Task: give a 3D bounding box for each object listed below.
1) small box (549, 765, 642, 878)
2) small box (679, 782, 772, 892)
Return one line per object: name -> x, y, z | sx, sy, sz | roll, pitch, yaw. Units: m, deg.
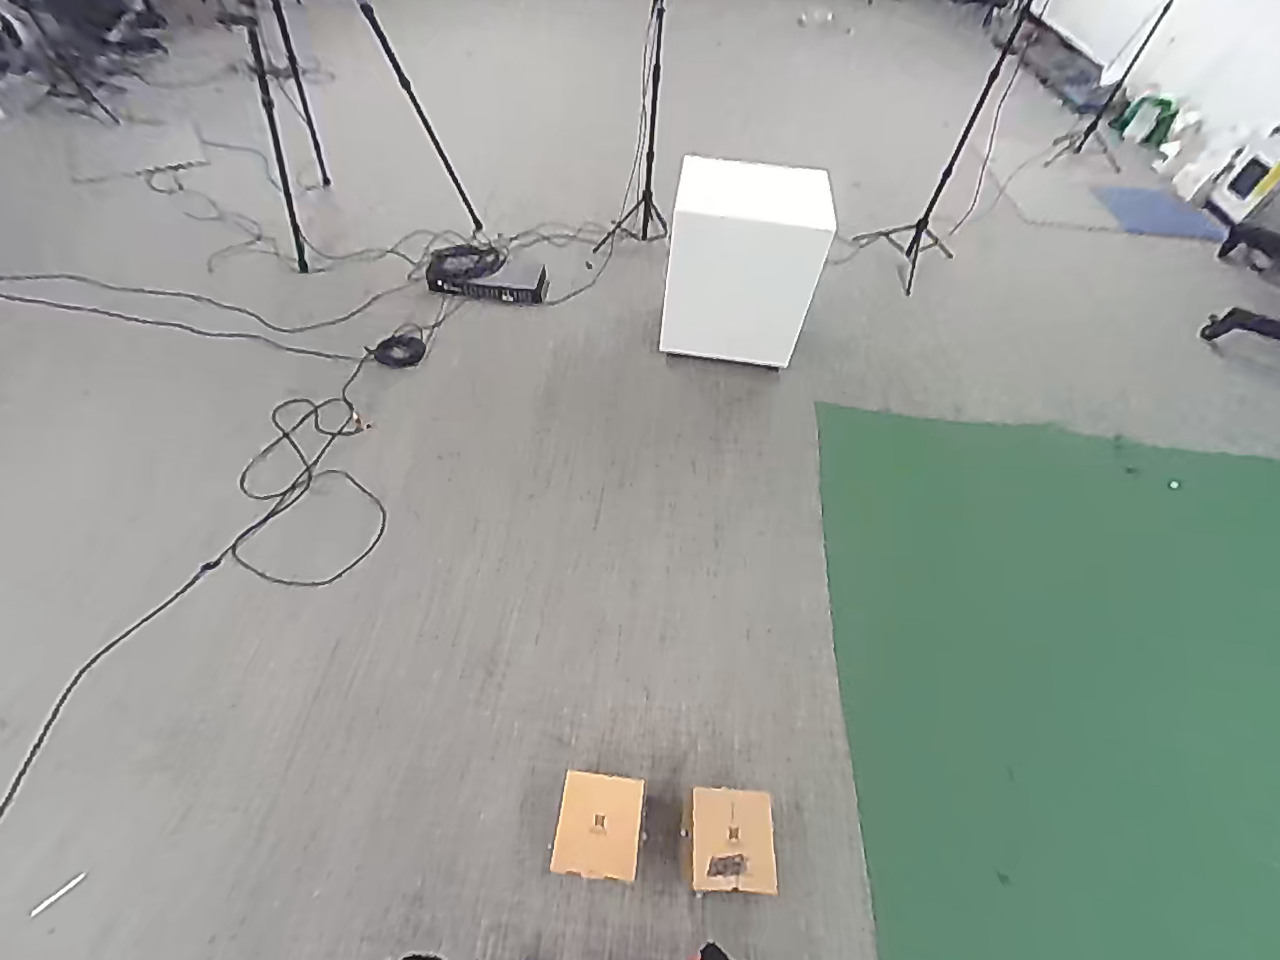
small box -> -0.092, 0.727, 1.150 | 0.168, 0.176, 0.179 | 8, 54, 1
small box -> 0.176, 0.758, 1.148 | 0.168, 0.176, 0.179 | 5, 53, -1
